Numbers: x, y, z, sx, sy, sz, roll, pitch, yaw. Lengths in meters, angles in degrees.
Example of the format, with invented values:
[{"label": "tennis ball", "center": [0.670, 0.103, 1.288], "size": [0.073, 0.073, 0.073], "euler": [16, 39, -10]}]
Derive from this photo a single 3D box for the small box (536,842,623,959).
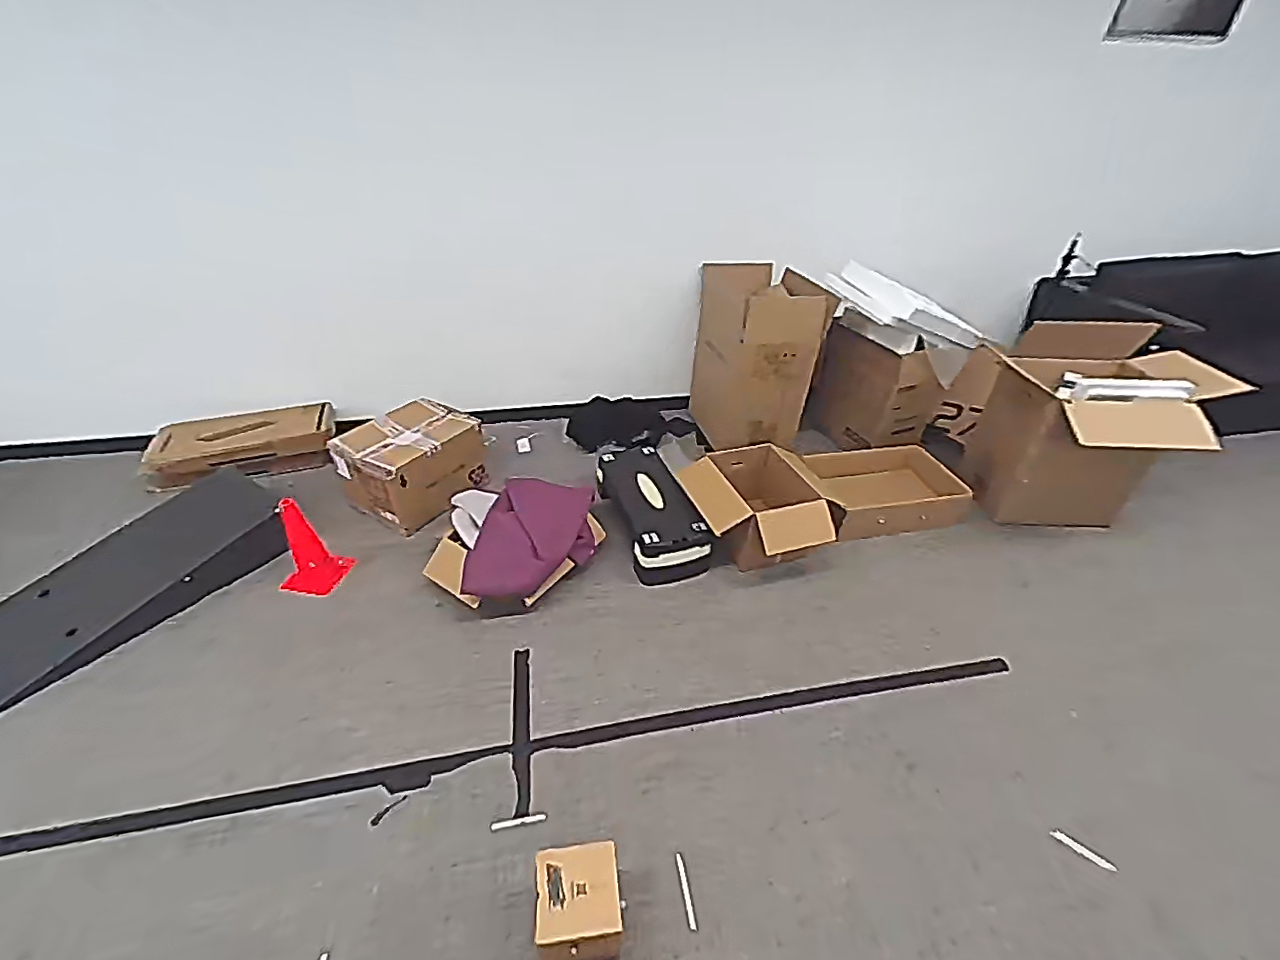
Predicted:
[{"label": "small box", "center": [-0.132, 0.930, 1.186], "size": [0.179, 0.176, 0.168], "euler": [-3, 36, -8]}]
